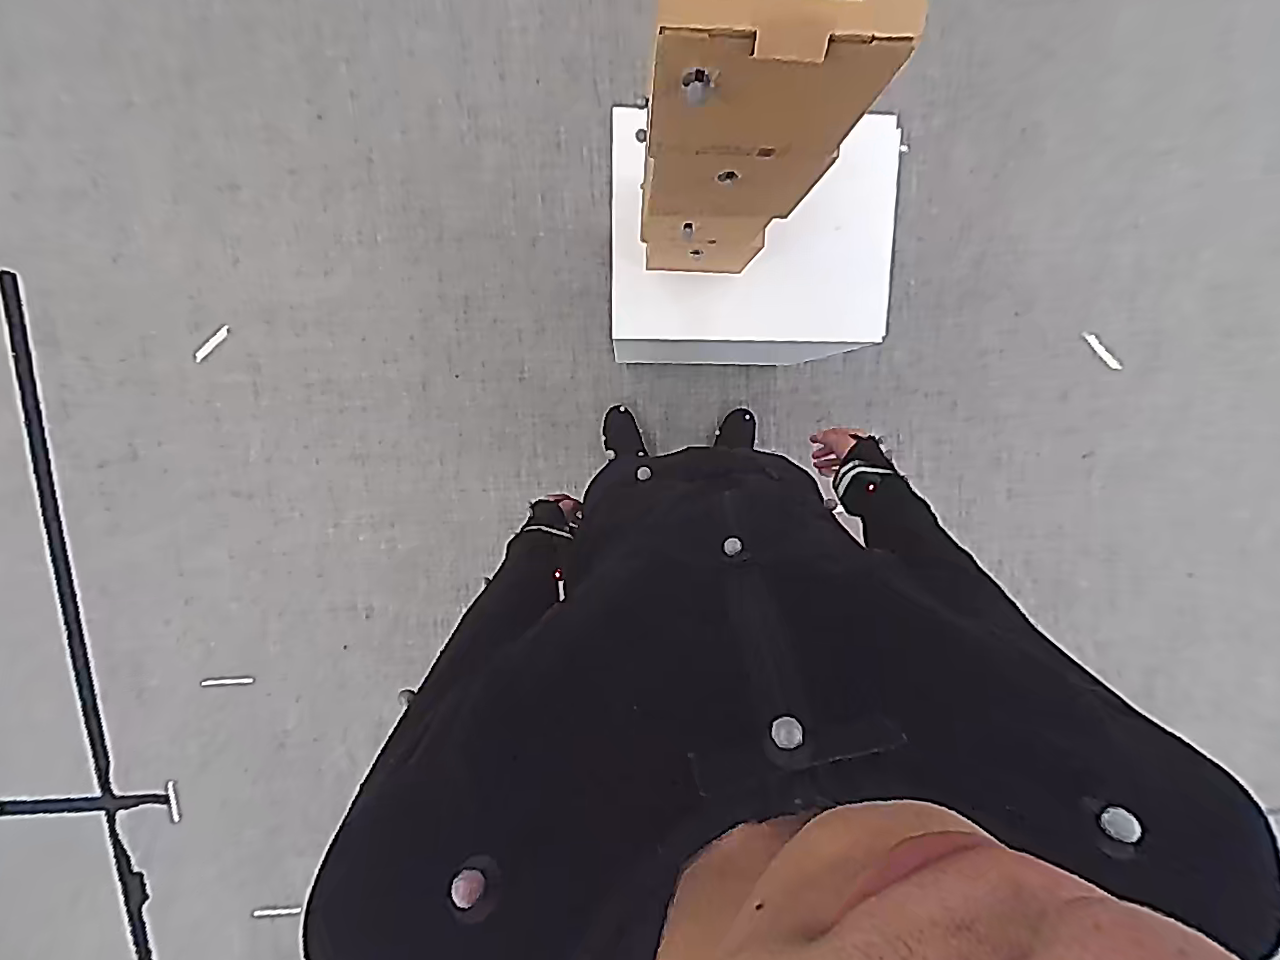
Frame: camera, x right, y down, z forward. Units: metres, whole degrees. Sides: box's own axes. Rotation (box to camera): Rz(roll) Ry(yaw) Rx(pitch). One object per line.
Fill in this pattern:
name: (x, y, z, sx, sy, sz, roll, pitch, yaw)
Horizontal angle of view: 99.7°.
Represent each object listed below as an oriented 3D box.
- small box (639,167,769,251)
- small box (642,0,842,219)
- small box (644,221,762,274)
small box: (0.087, -0.425, 0.732, 0.168, 0.176, 0.179, 3, 97, -3)
small box: (0.092, -0.390, 0.570, 0.179, 0.176, 0.168, 0, 98, -3)
small box: (0.098, -0.446, 0.893, 0.179, 0.176, 0.168, 1, 98, -4)
